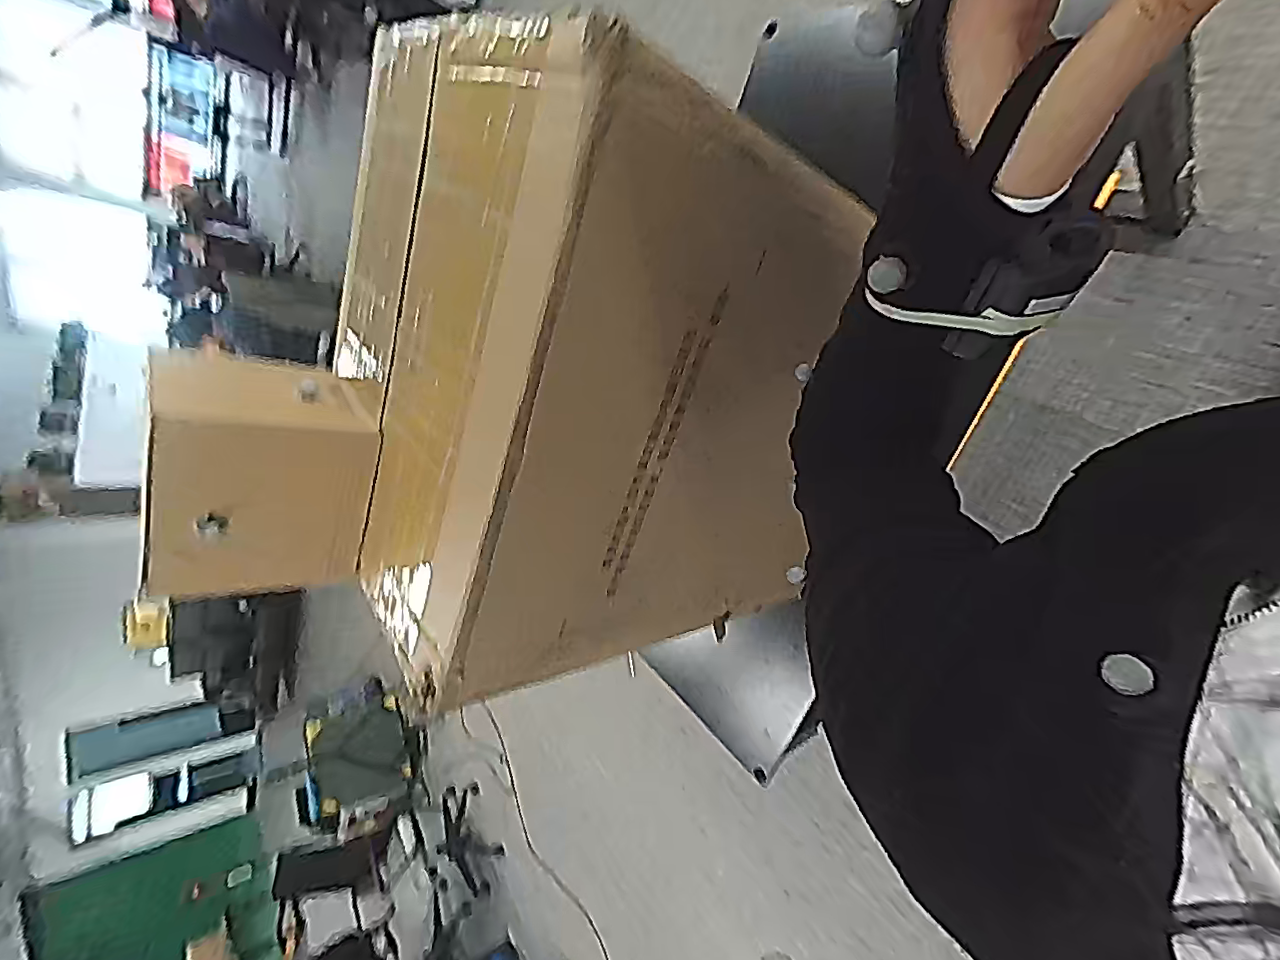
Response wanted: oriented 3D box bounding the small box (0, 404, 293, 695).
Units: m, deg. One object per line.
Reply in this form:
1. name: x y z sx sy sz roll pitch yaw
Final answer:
1. small box: -0.422 0.051 0.481 0.168 0.176 0.179 38 116 40
